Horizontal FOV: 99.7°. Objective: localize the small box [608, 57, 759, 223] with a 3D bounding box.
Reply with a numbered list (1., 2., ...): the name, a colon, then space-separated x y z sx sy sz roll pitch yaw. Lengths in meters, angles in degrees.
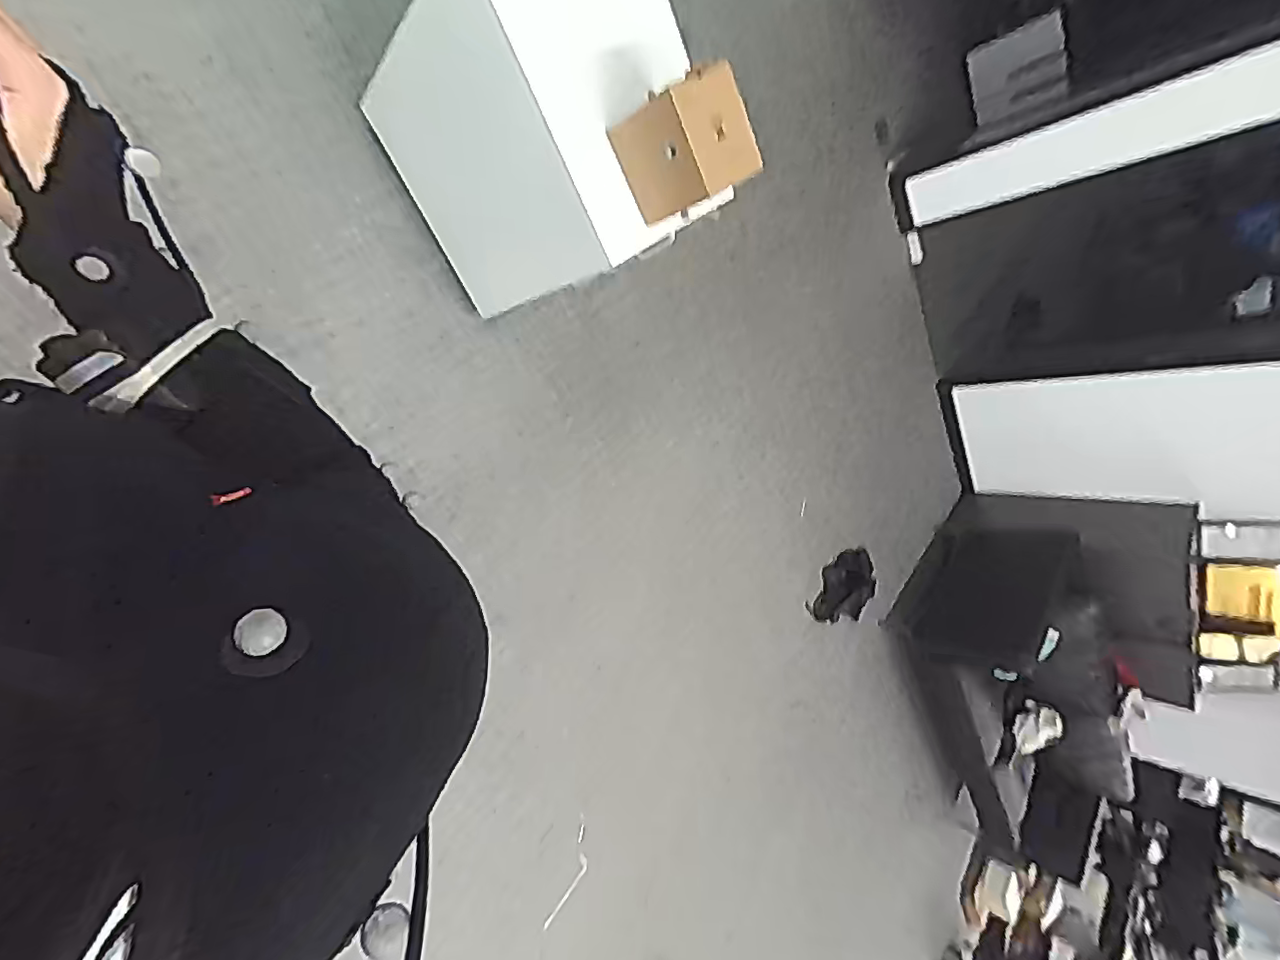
1. small box: 0.073 -0.589 0.952 0.168 0.176 0.179 -43 119 -28
